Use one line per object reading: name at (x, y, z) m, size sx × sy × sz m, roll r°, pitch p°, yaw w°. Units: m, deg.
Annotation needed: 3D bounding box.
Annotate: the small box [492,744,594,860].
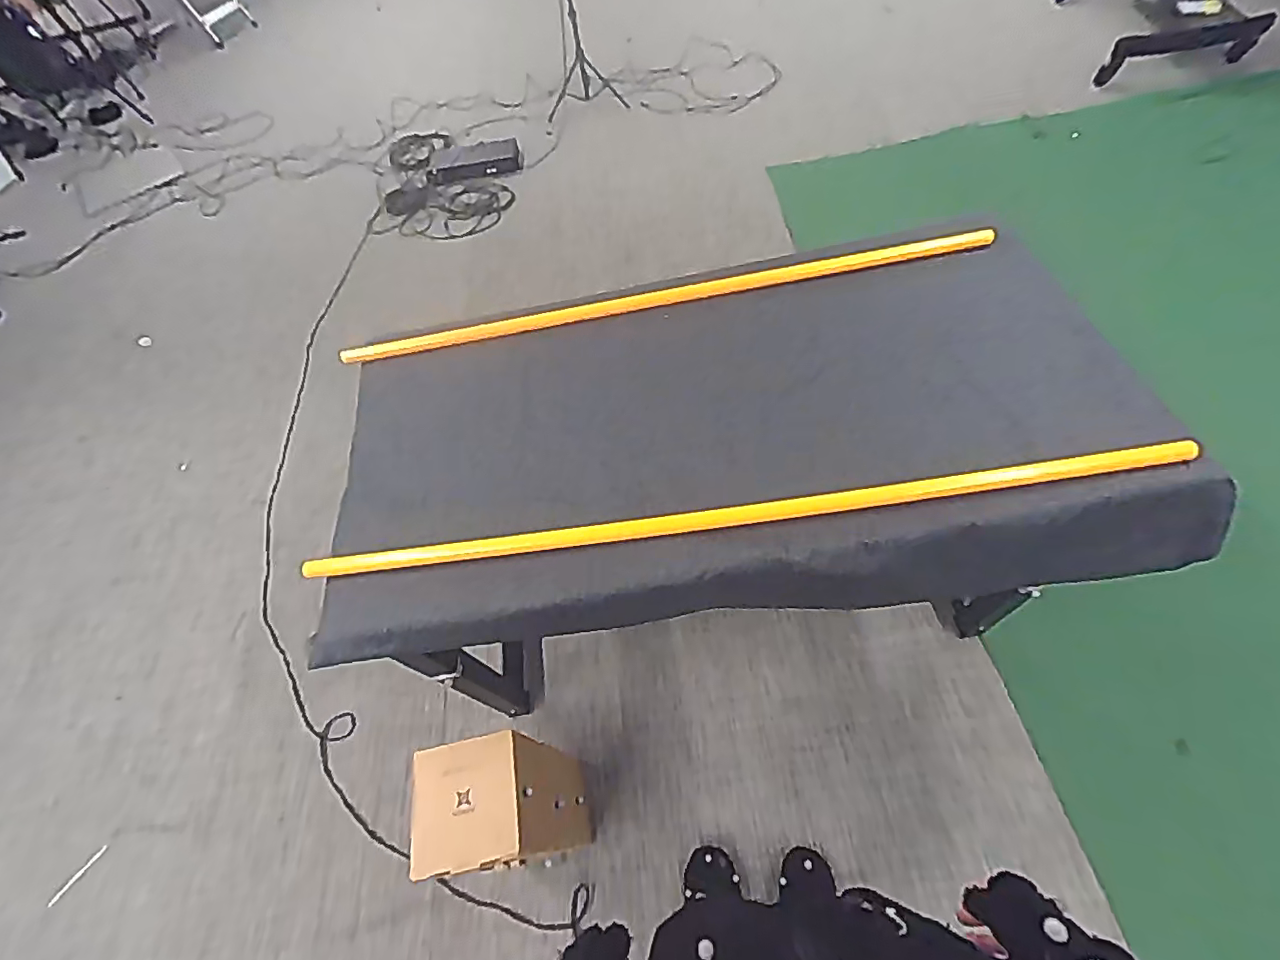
small box at (-0.207, 0.696, 1.172) m, size 0.168 × 0.176 × 0.179 m, roll -17°, pitch 58°, yaw -1°
